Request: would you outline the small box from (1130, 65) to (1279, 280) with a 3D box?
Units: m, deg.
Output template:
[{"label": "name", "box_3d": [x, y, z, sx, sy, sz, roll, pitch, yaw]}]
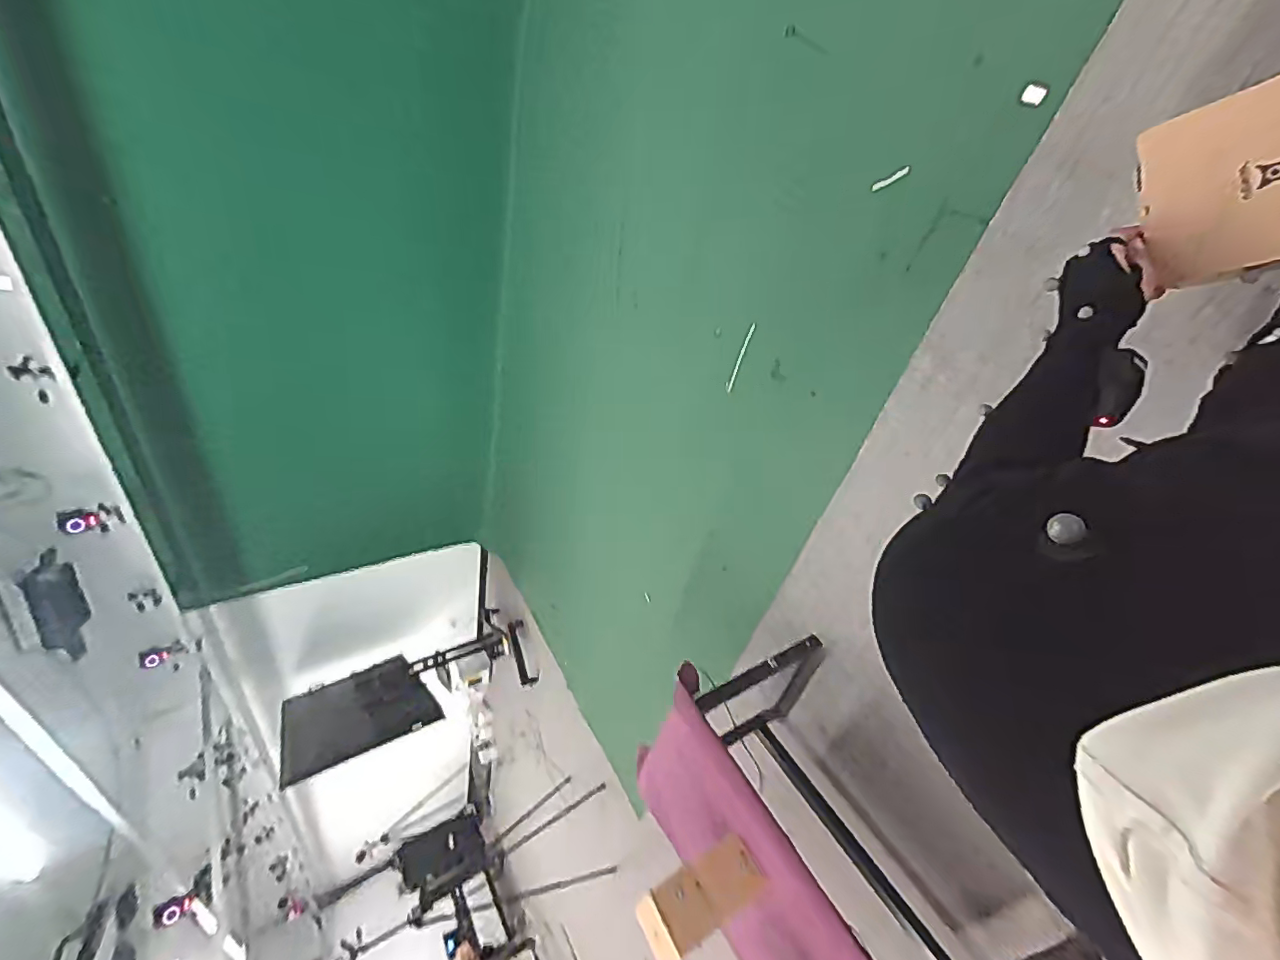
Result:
[{"label": "small box", "box_3d": [0.652, -0.313, 0.559, 0.179, 0.176, 0.168, -2, 100, 56]}]

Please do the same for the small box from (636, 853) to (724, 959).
[{"label": "small box", "box_3d": [0.116, 1.209, 1.542, 0.168, 0.176, 0.179, 51, 139, 35]}]
